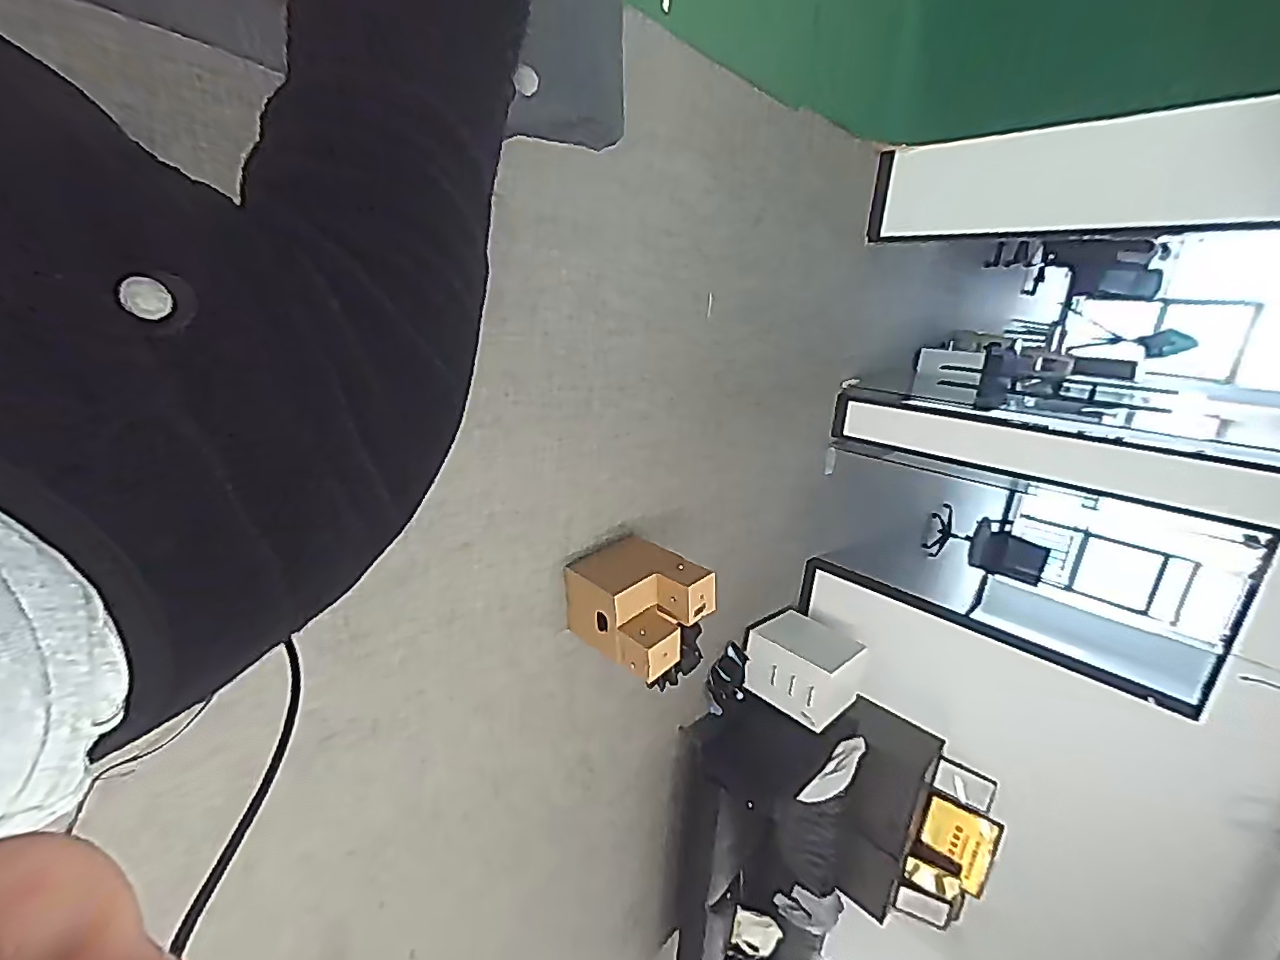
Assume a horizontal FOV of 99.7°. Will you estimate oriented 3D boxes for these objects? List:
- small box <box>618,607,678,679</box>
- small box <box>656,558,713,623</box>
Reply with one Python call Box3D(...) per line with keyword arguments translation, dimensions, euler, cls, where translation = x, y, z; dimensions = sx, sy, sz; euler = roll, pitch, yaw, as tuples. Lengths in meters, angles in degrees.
Box3D(translation=(0.028, 0.621, 2.080), dimensions=(0.179, 0.176, 0.168), euler=(-26, 126, -40), cls="small box")
Box3D(translation=(0.175, 0.437, 2.165), dimensions=(0.168, 0.176, 0.179), euler=(-20, 116, -41), cls="small box")
